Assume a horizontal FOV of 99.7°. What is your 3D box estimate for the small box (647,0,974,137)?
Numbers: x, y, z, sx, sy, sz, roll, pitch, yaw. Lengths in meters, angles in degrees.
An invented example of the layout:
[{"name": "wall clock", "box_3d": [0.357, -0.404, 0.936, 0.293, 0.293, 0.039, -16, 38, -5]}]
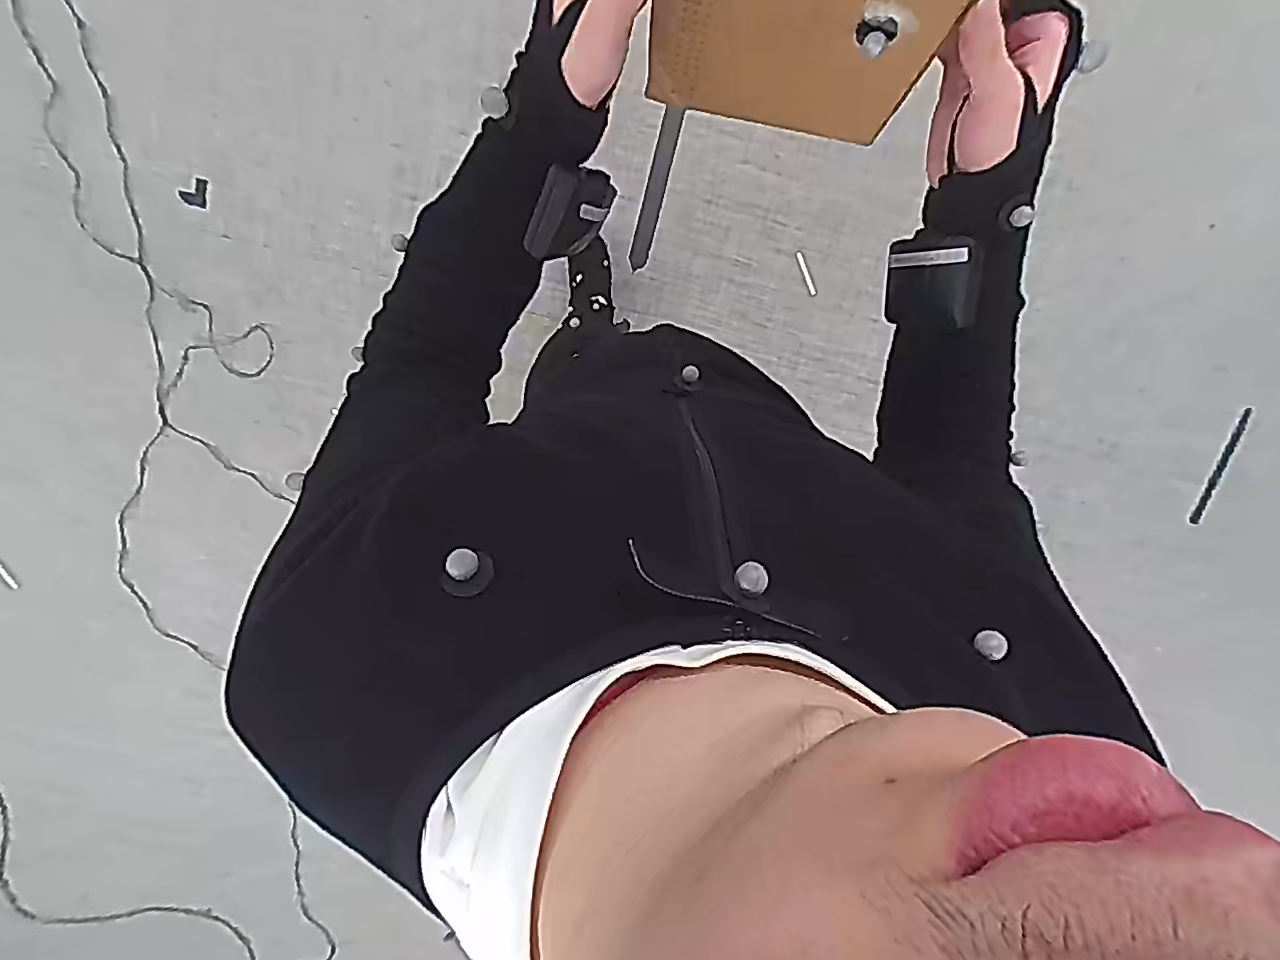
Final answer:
[{"name": "small box", "box_3d": [0.100, -0.339, 0.304, 0.176, 0.179, 0.168, 10, 88, -4]}]
